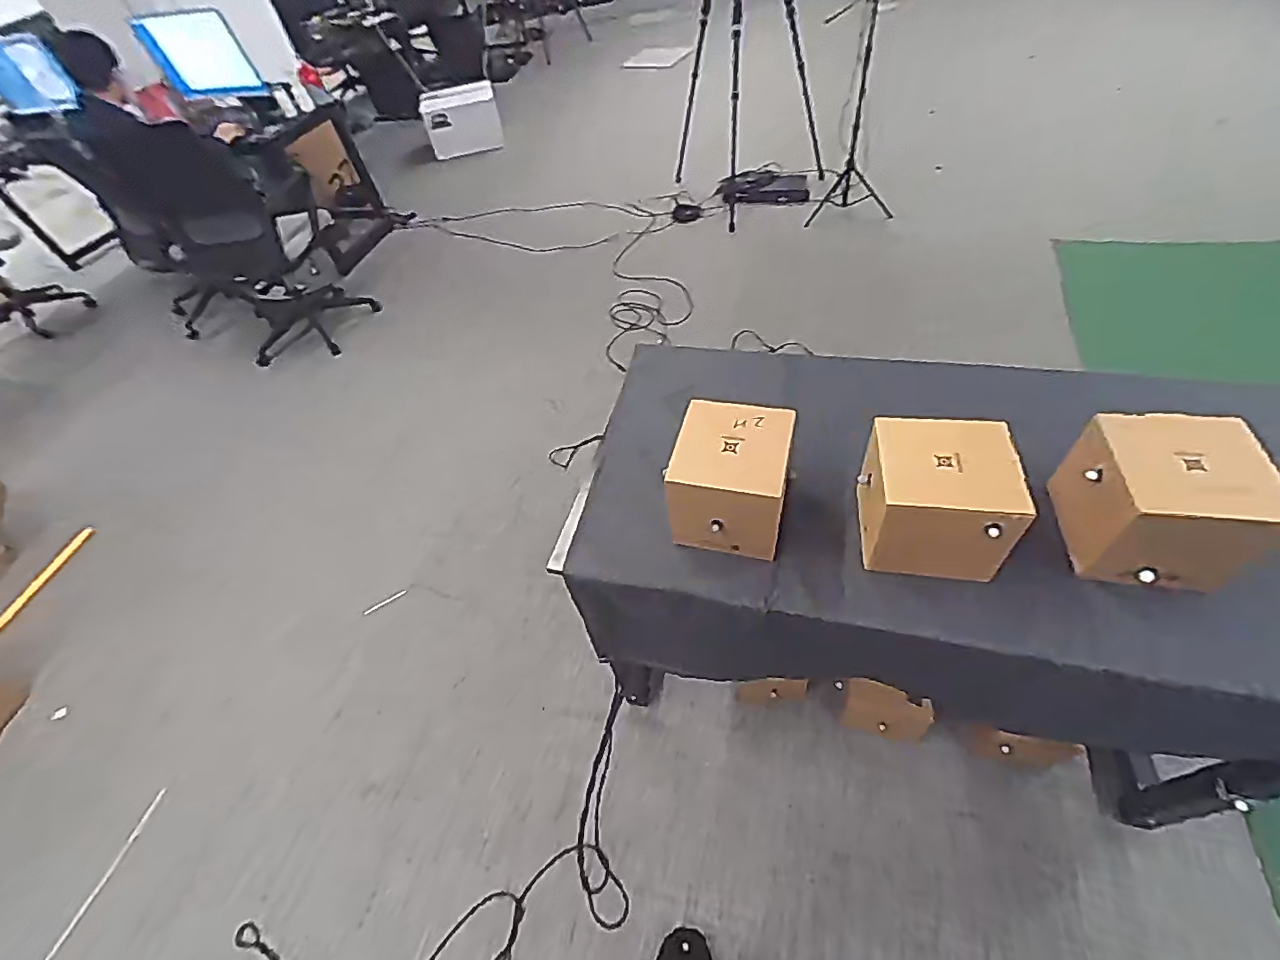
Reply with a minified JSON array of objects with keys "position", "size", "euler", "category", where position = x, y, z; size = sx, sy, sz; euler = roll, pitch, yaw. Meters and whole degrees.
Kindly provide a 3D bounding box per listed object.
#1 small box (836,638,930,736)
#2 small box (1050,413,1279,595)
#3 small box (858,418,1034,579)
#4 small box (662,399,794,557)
[{"position":[0.583,0.506,1.313],"size":[0.179,0.176,0.168],"euler":[5,52,15],"category":"small box"},{"position":[0.701,0.032,0.737],"size":[0.168,0.176,0.179],"euler":[5,52,14],"category":"small box"},{"position":[0.422,0.029,0.786],"size":[0.179,0.176,0.168],"euler":[4,52,12],"category":"small box"},{"position":[0.142,-0.001,0.852],"size":[0.168,0.176,0.179],"euler":[10,53,16],"category":"small box"}]
